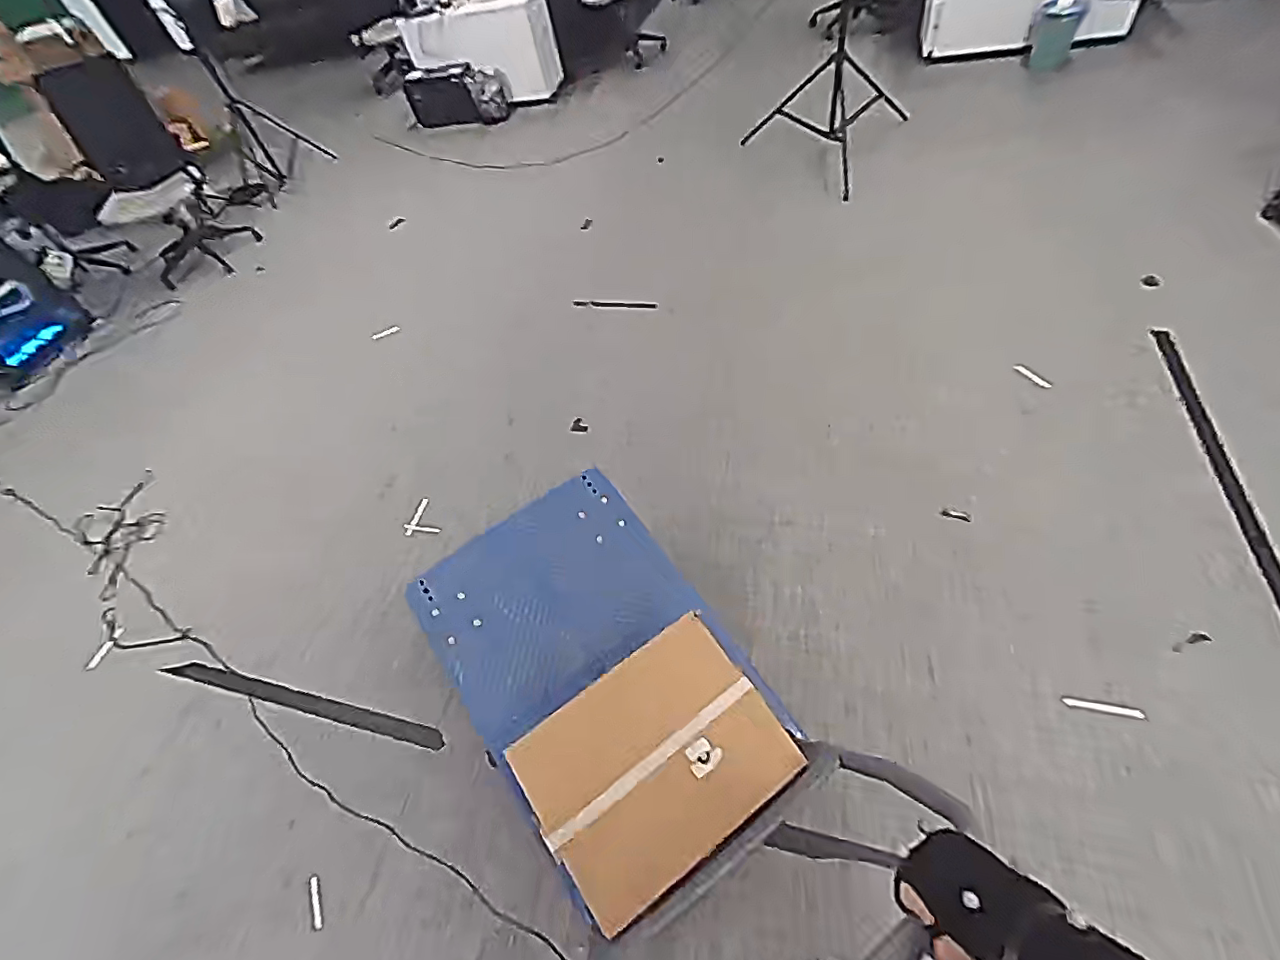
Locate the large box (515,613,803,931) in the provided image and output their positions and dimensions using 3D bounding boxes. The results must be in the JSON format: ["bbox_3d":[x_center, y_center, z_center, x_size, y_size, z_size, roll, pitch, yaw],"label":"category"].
[{"bbox_3d":[0.032,0.531,1.048,0.408,0.320,0.320,-34,70,-15],"label":"large box"}]
